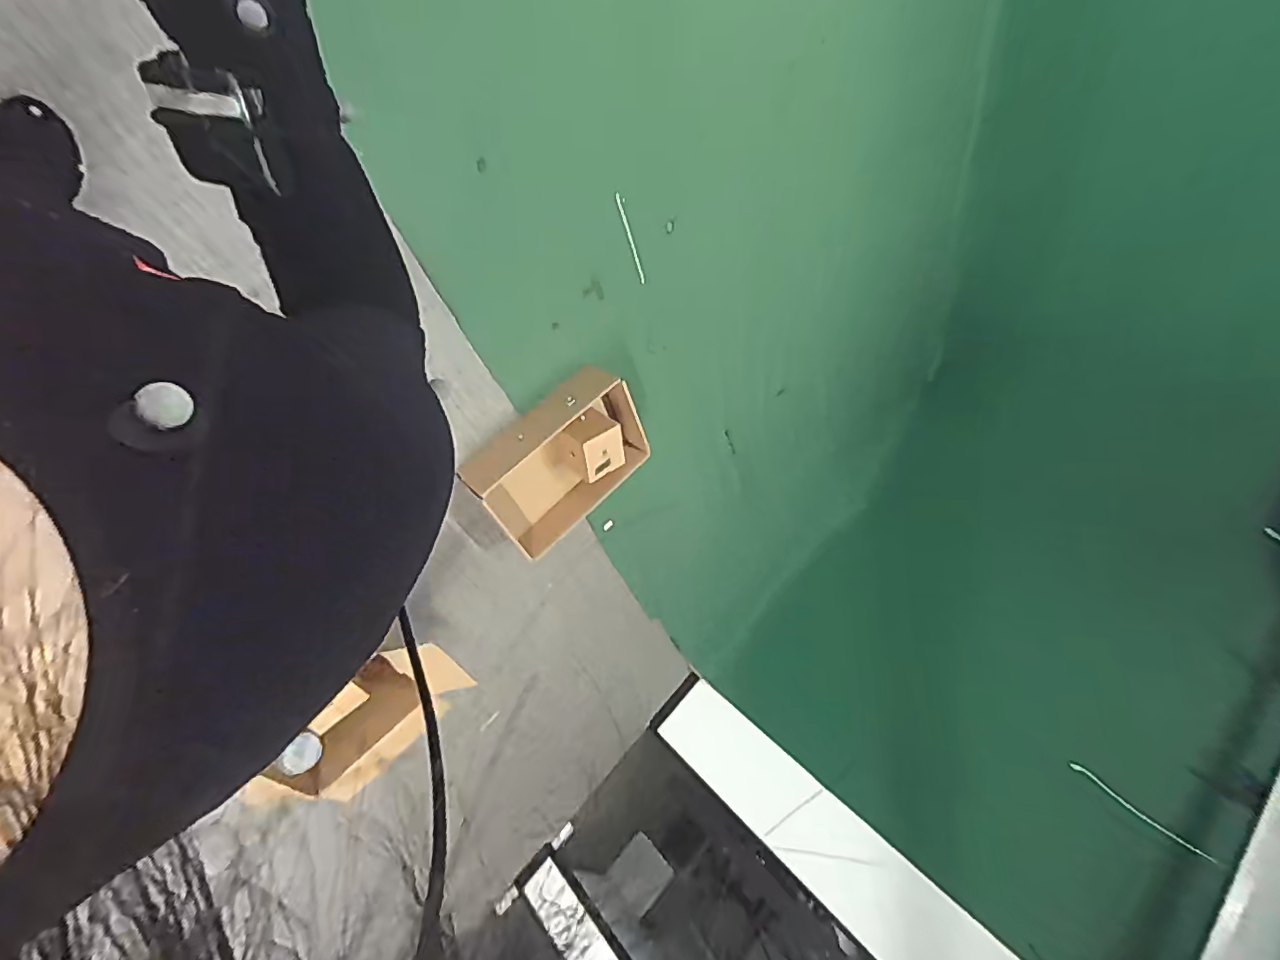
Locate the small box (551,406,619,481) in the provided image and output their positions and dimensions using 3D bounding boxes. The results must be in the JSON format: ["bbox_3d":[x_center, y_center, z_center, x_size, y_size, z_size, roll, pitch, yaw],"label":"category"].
[{"bbox_3d":[-0.196,-0.133,1.923,0.168,0.176,0.179,-32,137,-28],"label":"small box"}]
